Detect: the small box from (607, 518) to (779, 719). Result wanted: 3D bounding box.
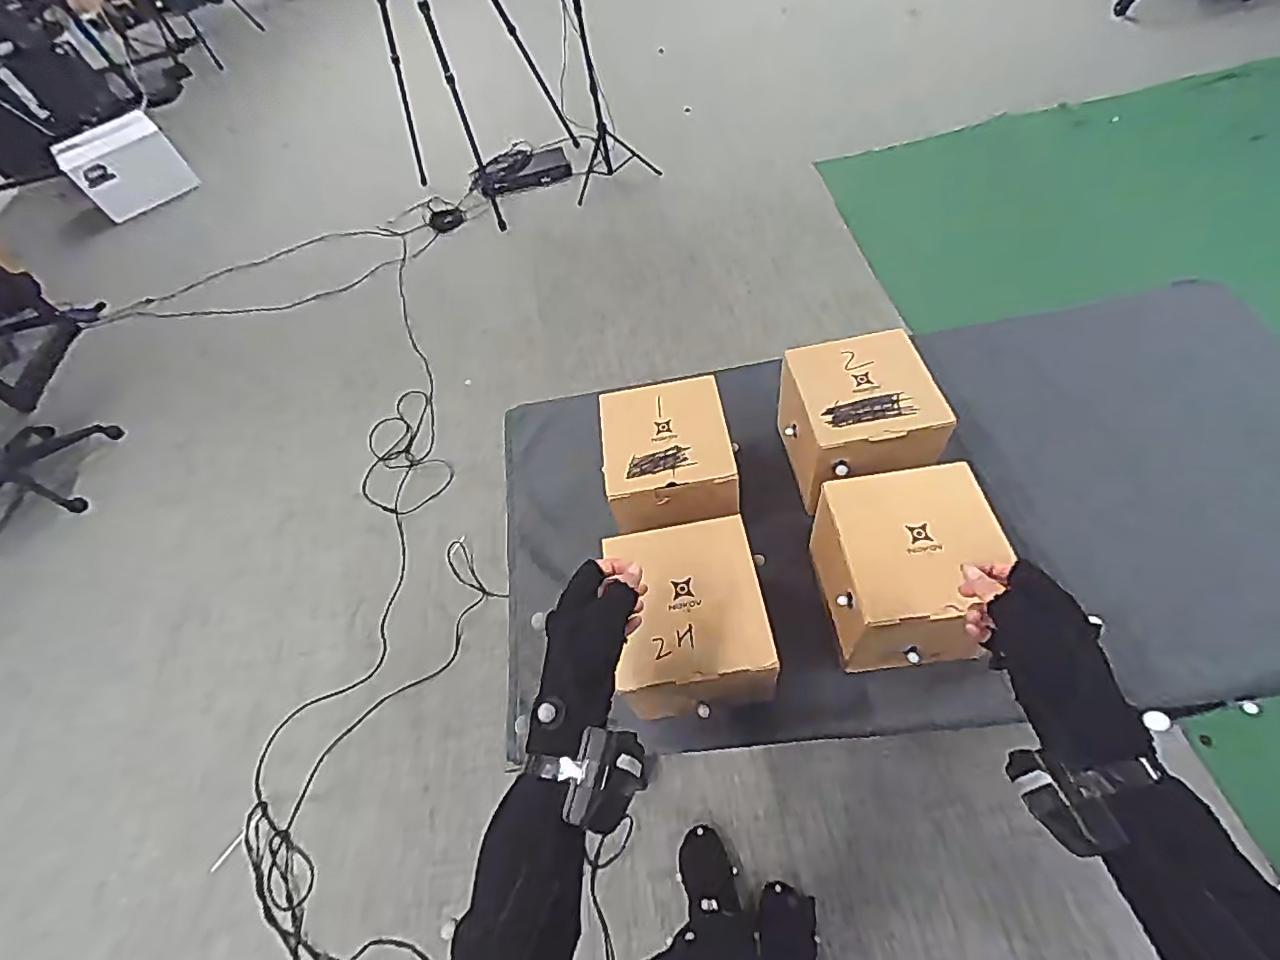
[{"bbox_3d":[0.061,0.171,0.651,0.168,0.176,0.179,-11,56,4],"label":"small box"}]

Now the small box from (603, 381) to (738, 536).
[{"bbox_3d":[0.047,-0.012,0.780,0.168,0.176,0.179,-9,55,4],"label":"small box"}]
